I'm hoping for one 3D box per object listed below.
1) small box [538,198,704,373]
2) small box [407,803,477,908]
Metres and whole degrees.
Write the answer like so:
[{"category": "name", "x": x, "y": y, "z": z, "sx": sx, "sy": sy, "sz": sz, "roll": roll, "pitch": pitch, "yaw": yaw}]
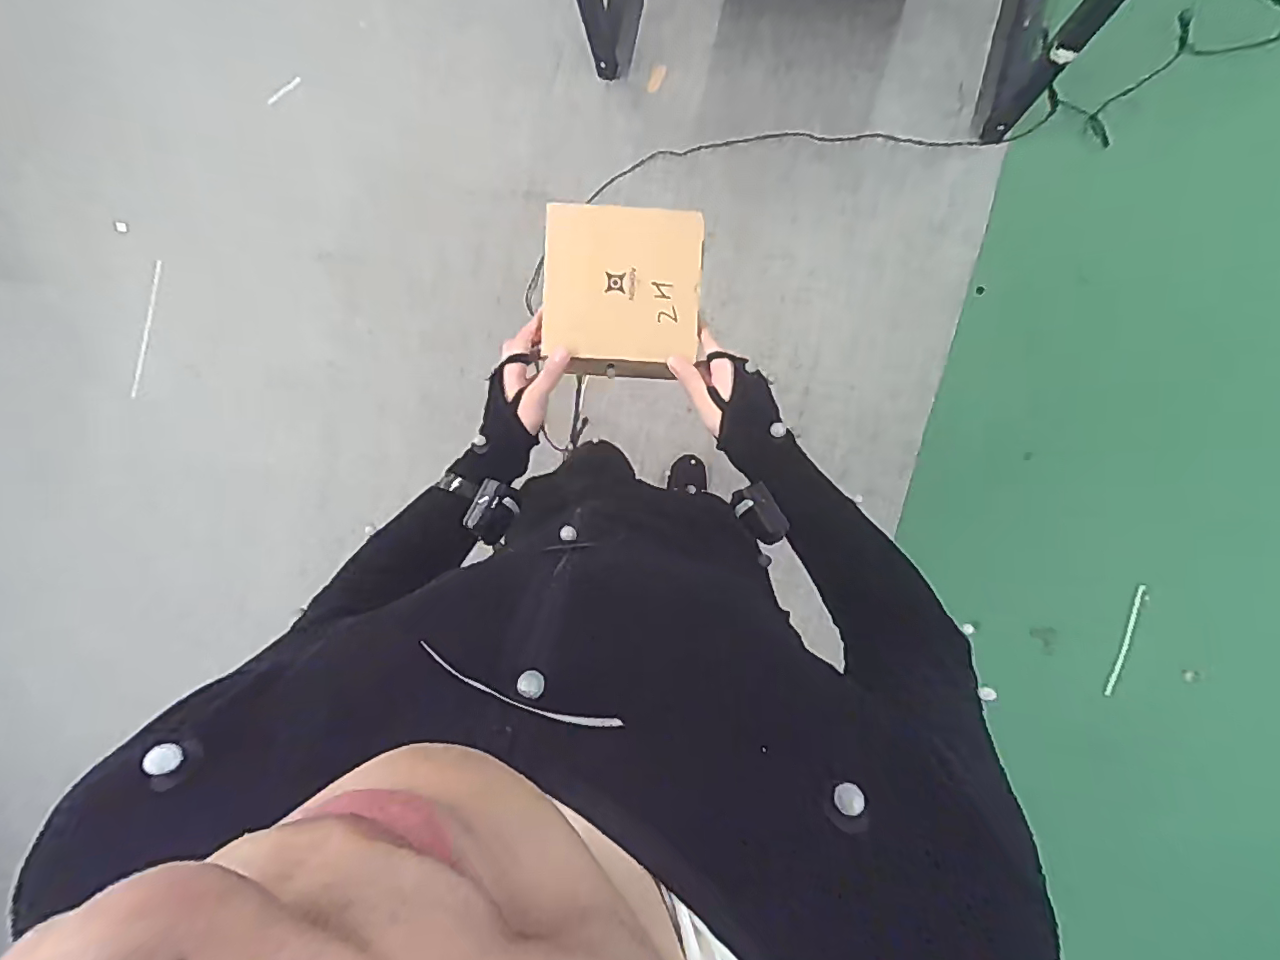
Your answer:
[{"category": "small box", "x": -0.022, "y": -0.227, "z": 0.672, "sx": 0.179, "sy": 0.176, "sz": 0.168, "roll": 3, "pitch": 96, "yaw": -1}, {"category": "small box", "x": -0.625, "y": 1.143, "z": 1.664, "sx": 0.168, "sy": 0.176, "sz": 0.179, "roll": 23, "pitch": 93, "yaw": 7}]
